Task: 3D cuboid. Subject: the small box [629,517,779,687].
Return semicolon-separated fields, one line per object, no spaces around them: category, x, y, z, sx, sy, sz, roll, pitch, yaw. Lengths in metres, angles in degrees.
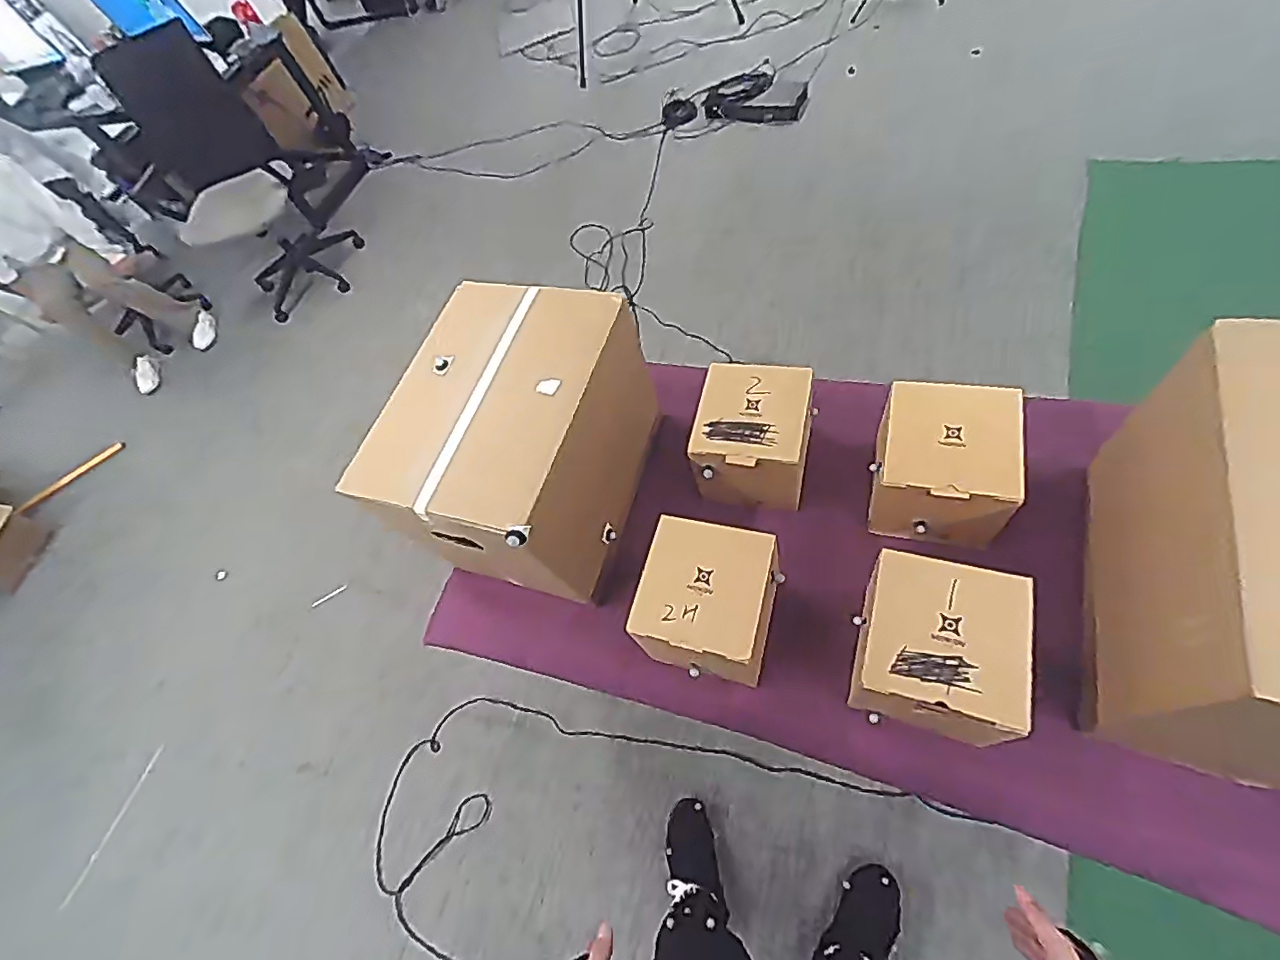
small box;0.102;0.177;0.777;0.168;0.176;0.179;9;63;20

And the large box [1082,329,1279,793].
large box;0.720;0.105;0.572;0.320;0.320;0.408;11;65;22
